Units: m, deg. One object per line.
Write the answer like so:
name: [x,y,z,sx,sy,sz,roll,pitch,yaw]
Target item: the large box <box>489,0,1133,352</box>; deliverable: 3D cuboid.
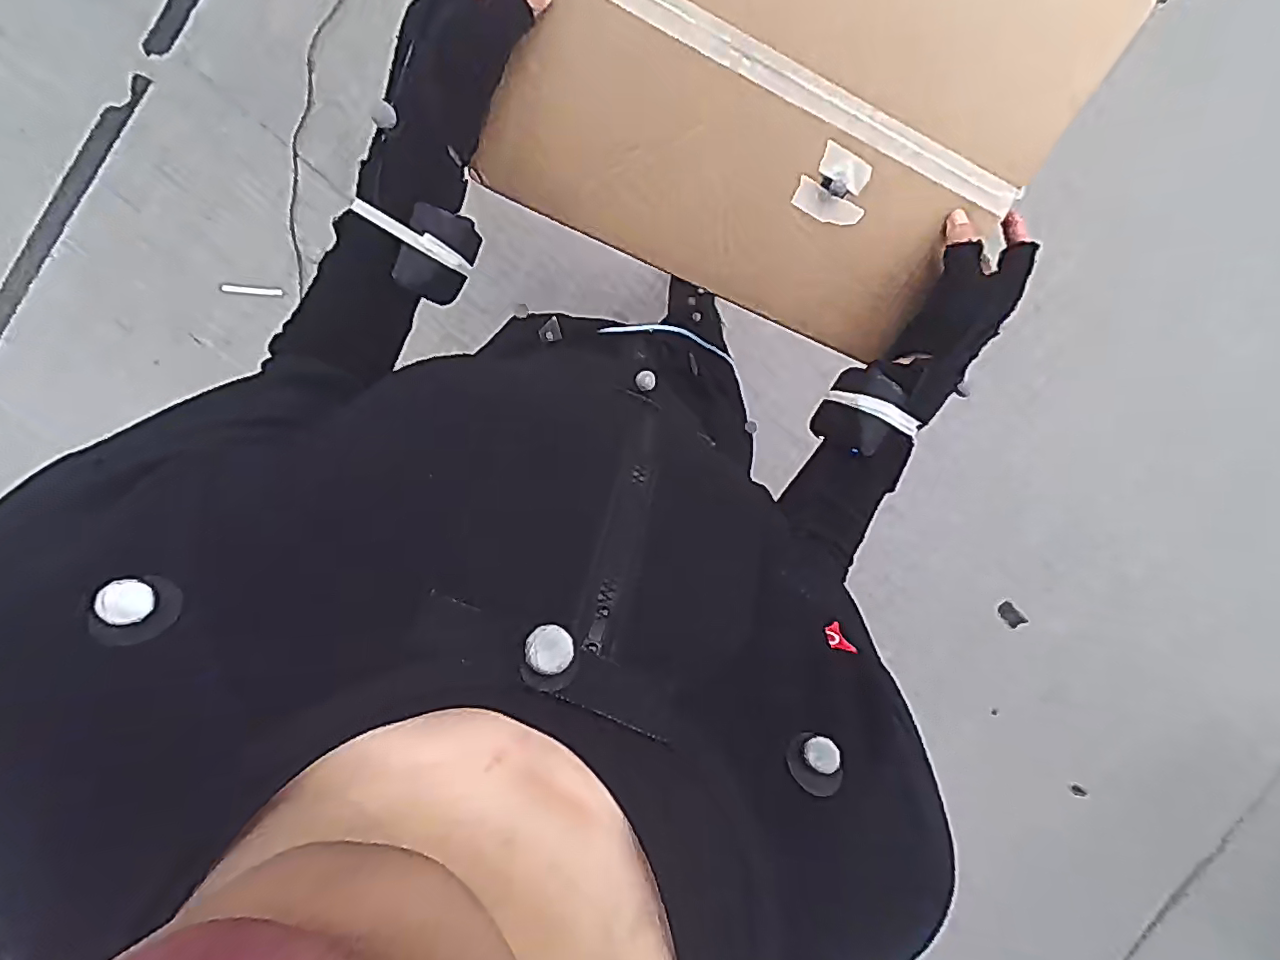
large box: [0.113,-0.385,0.531,0.408,0.320,0.320,20,123,-13]
